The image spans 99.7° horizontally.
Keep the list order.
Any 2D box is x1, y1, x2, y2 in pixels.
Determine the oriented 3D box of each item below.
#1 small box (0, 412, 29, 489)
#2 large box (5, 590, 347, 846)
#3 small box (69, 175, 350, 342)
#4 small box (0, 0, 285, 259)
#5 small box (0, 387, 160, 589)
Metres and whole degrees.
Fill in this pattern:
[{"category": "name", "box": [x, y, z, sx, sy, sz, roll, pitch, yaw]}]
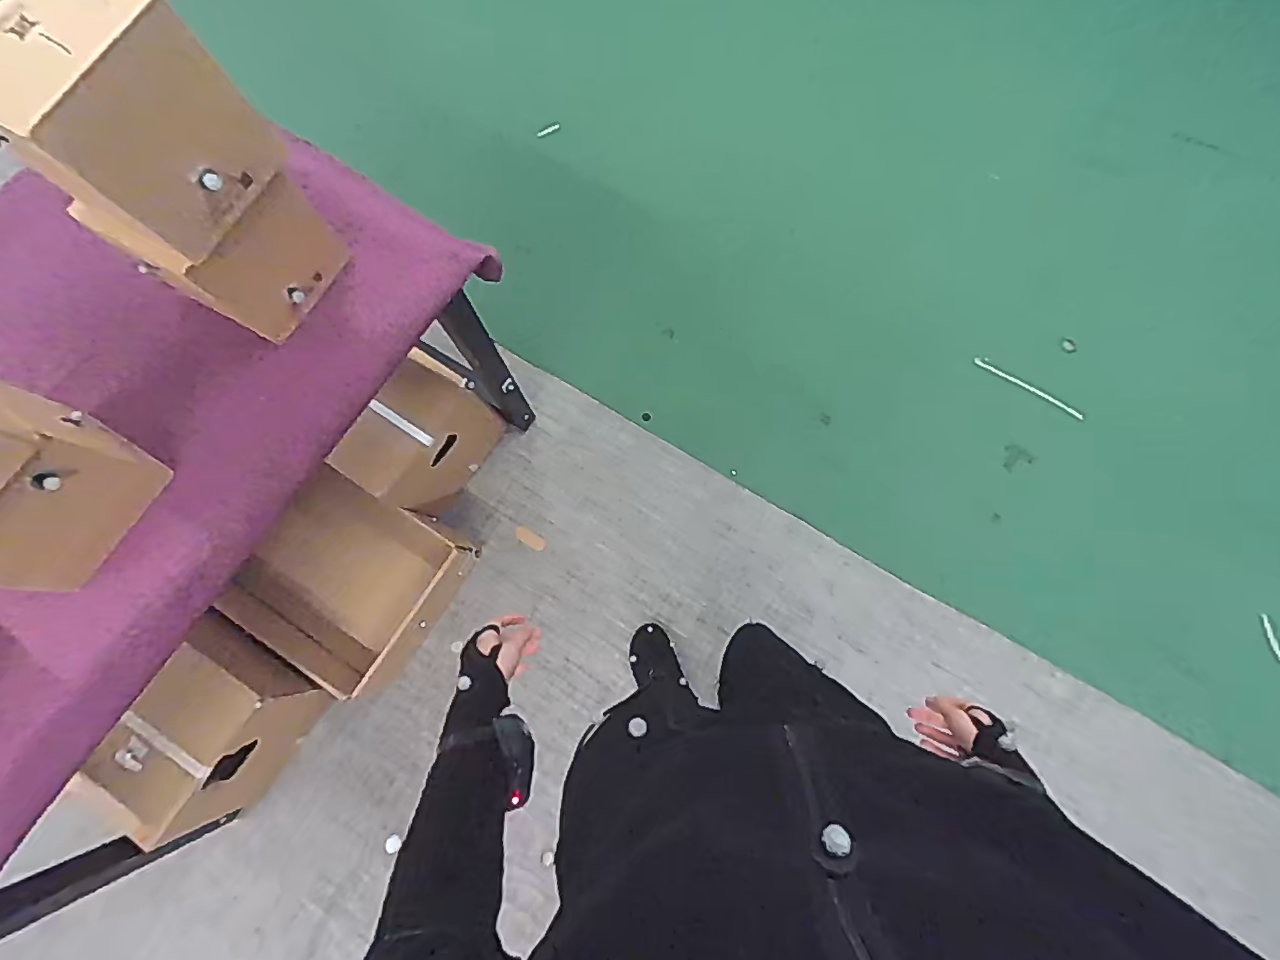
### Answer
[{"category": "small box", "box": [-0.696, -0.023, 0.443, 0.168, 0.176, 0.179, 29, 79, 8]}, {"category": "large box", "box": [-0.959, 0.479, 1.176, 0.408, 0.320, 0.320, 31, 78, 7]}, {"category": "small box", "box": [-0.519, -0.303, 0.680, 0.179, 0.176, 0.168, 29, 80, 9]}, {"category": "small box", "box": [-0.506, -0.351, 0.522, 0.179, 0.176, 0.168, 29, 80, 8]}, {"category": "small box", "box": [-0.704, 0.005, 0.606, 0.168, 0.176, 0.179, 30, 79, 9]}]
